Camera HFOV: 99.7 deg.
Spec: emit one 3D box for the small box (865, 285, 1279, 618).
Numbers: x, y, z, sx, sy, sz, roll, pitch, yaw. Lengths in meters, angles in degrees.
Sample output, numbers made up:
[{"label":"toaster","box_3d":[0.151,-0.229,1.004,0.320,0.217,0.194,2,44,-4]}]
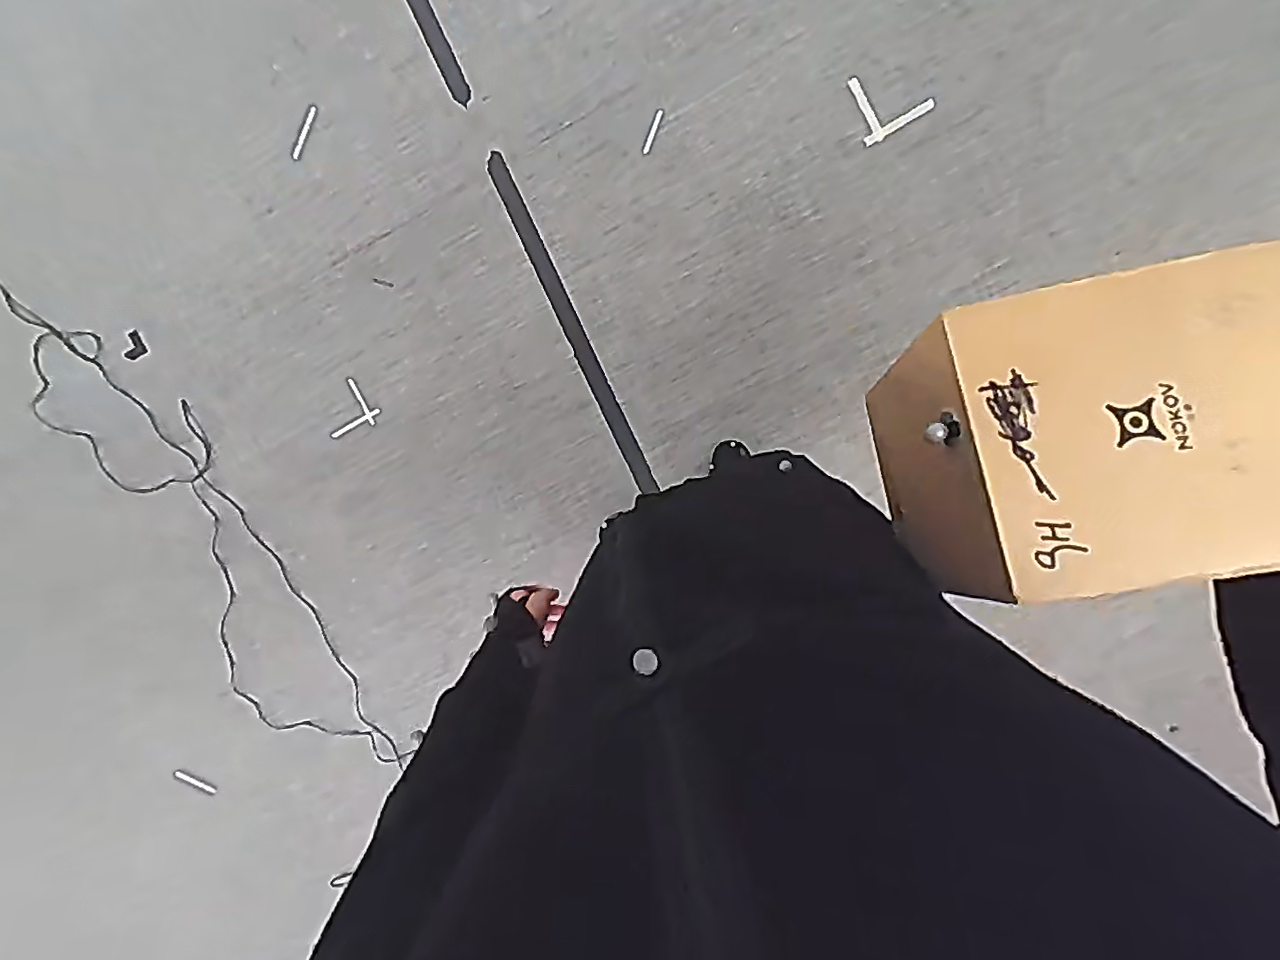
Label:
[{"label":"small box","box_3d":[0.283,-0.005,0.378,0.179,0.176,0.168,-10,79,7]}]
